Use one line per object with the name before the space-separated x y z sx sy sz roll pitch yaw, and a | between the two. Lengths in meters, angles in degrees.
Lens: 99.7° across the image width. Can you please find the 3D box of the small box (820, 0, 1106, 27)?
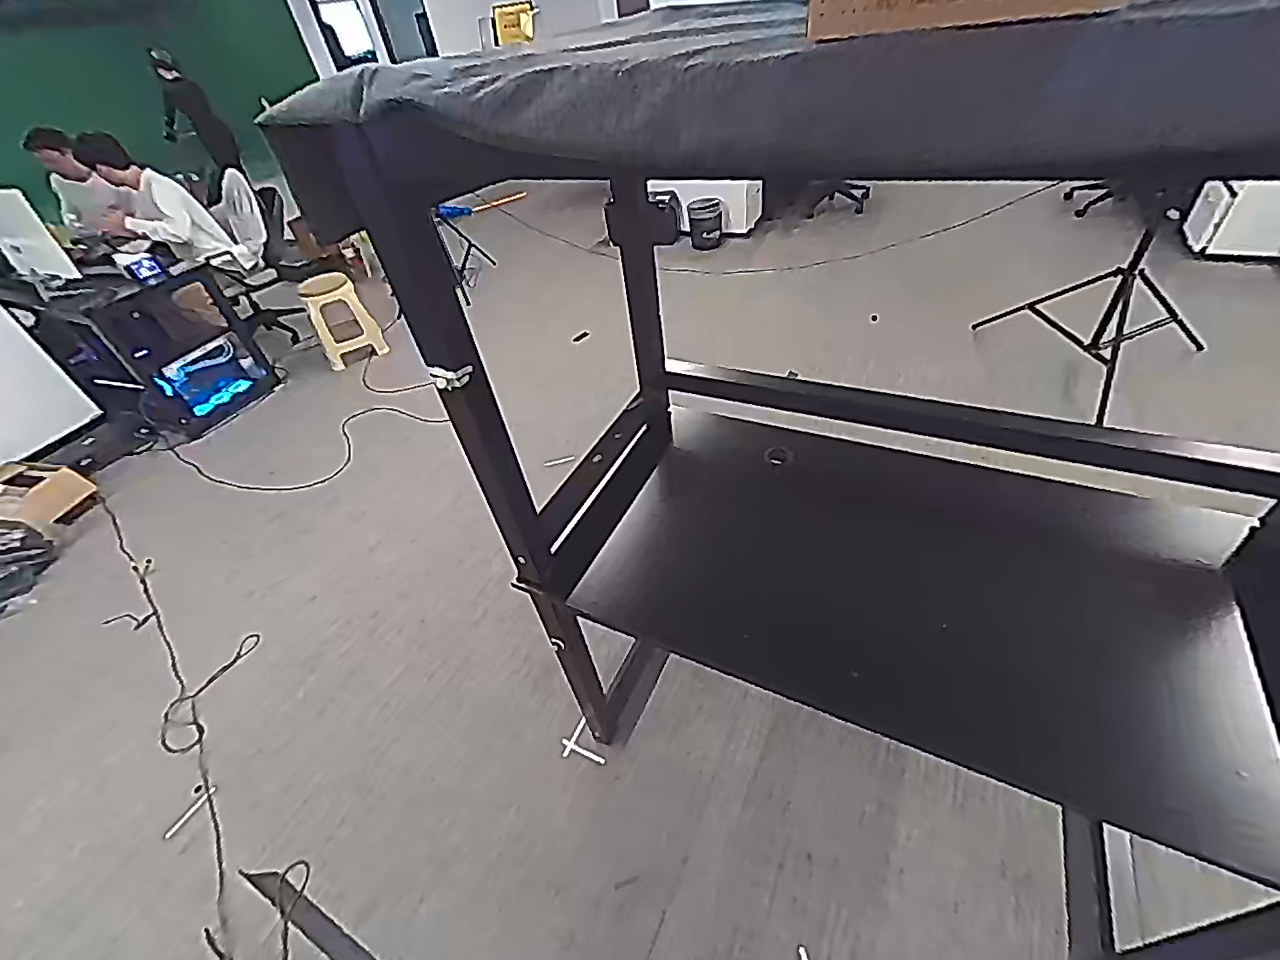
small box | 0.211 -0.379 0.312 0.168 0.176 0.179 14 45 25
